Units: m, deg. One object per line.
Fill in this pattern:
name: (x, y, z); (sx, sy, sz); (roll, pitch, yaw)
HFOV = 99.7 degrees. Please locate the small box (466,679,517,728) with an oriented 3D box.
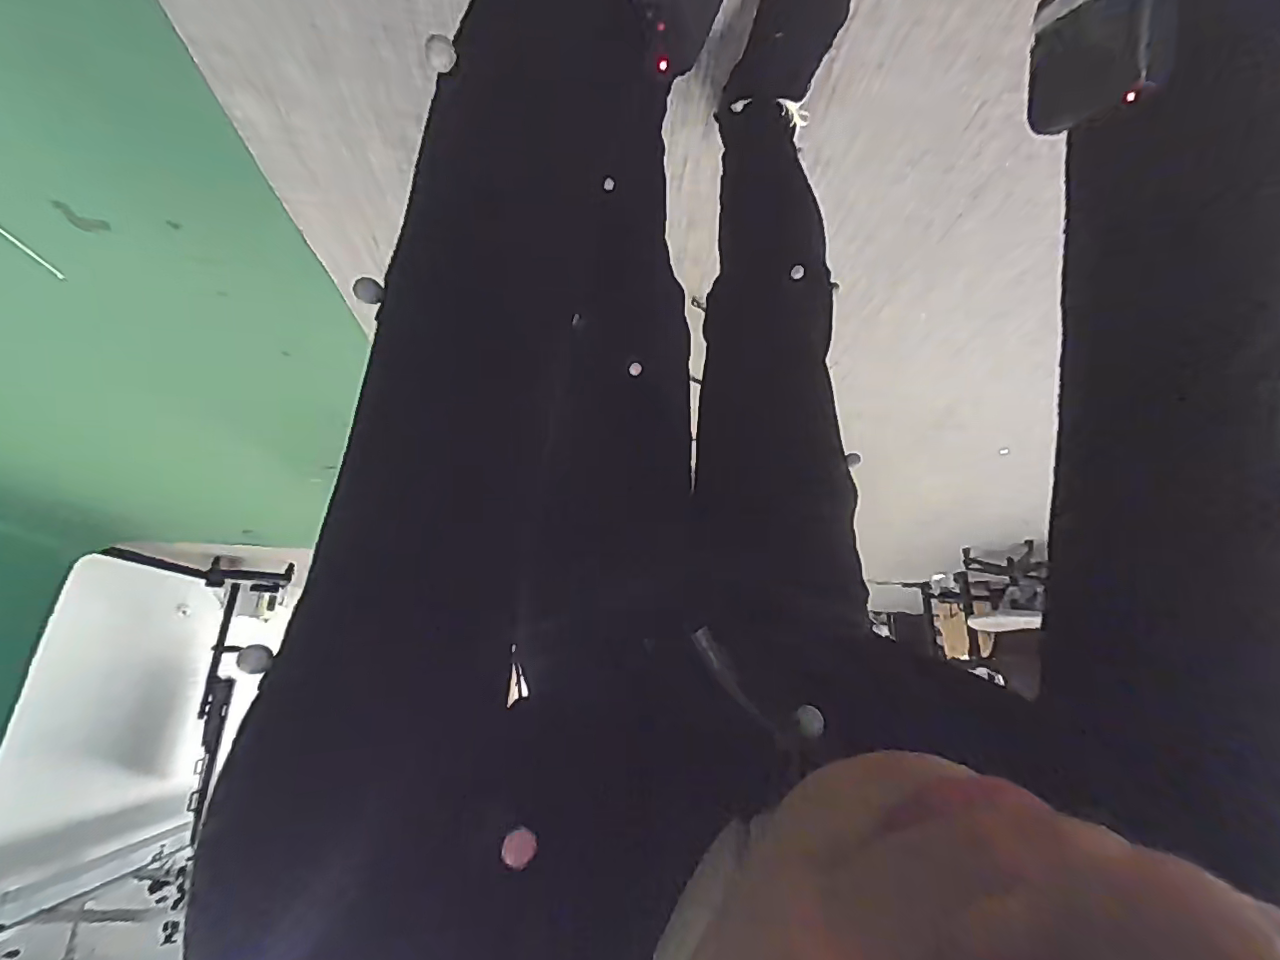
small box: (-0.570, 0.857, 2.091); (0.168, 0.176, 0.179); (3, 162, -6)

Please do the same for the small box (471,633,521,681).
small box: (-0.567, 0.704, 2.148); (0.168, 0.176, 0.179); (3, 160, -7)
